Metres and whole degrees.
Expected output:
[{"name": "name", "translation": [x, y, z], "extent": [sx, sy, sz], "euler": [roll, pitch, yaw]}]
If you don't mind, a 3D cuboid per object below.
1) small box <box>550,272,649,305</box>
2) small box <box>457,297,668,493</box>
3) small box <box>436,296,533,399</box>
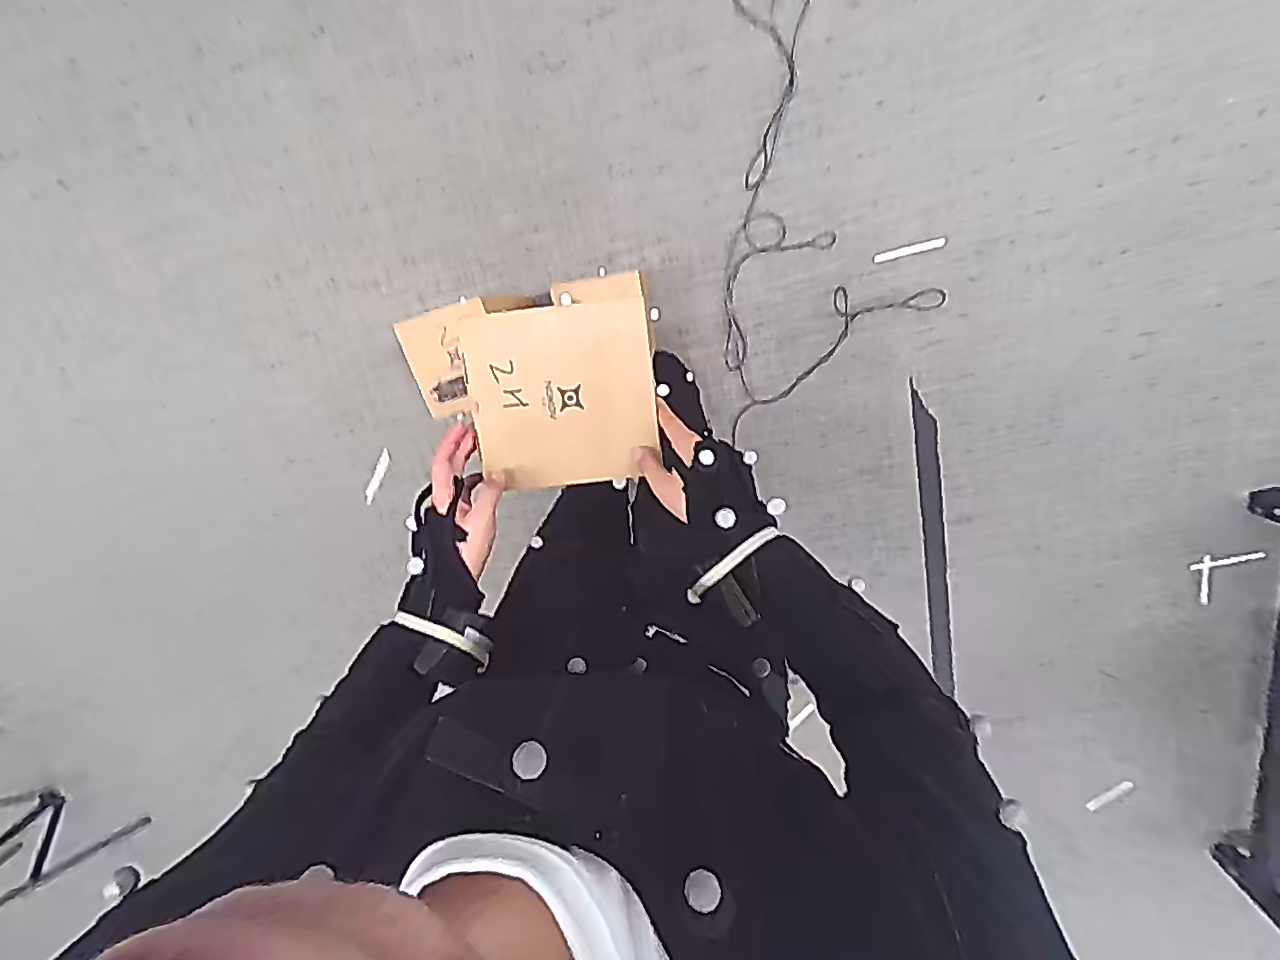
[{"name": "small box", "translation": [-0.068, -0.326, 1.110], "extent": [0.179, 0.176, 0.168], "euler": [-7, 109, 7]}, {"name": "small box", "translation": [-0.068, -0.091, 0.567], "extent": [0.179, 0.176, 0.168], "euler": [-6, 101, 2]}, {"name": "small box", "translation": [-0.293, -0.277, 1.149], "extent": [0.168, 0.176, 0.179], "euler": [-19, 107, 11]}]
